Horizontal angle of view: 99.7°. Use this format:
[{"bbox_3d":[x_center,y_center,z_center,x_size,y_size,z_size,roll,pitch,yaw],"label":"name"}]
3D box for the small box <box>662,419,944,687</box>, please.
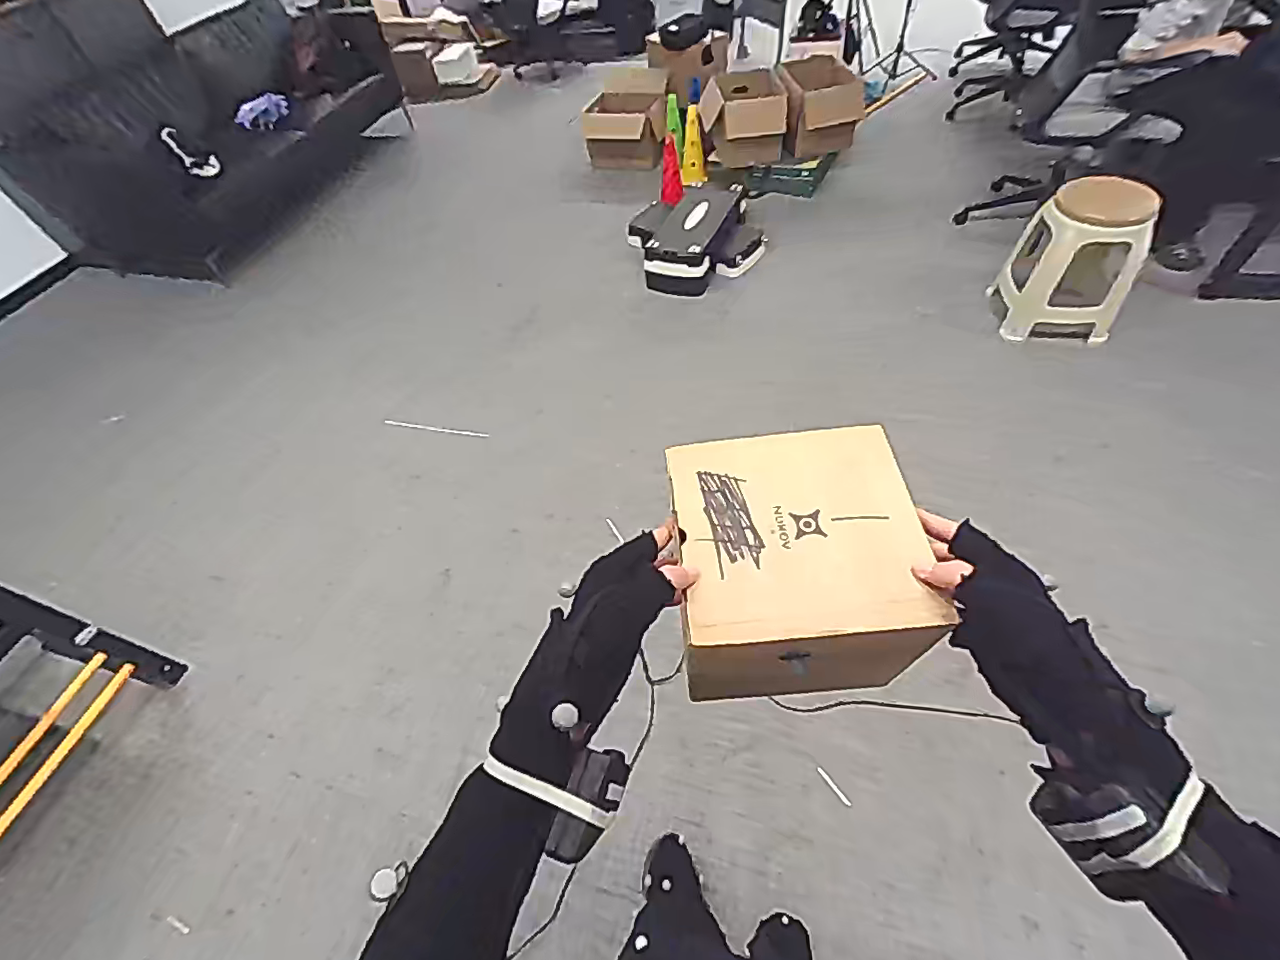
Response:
[{"bbox_3d":[0.116,0.070,0.463,0.179,0.176,0.168,-5,56,2],"label":"small box"}]
